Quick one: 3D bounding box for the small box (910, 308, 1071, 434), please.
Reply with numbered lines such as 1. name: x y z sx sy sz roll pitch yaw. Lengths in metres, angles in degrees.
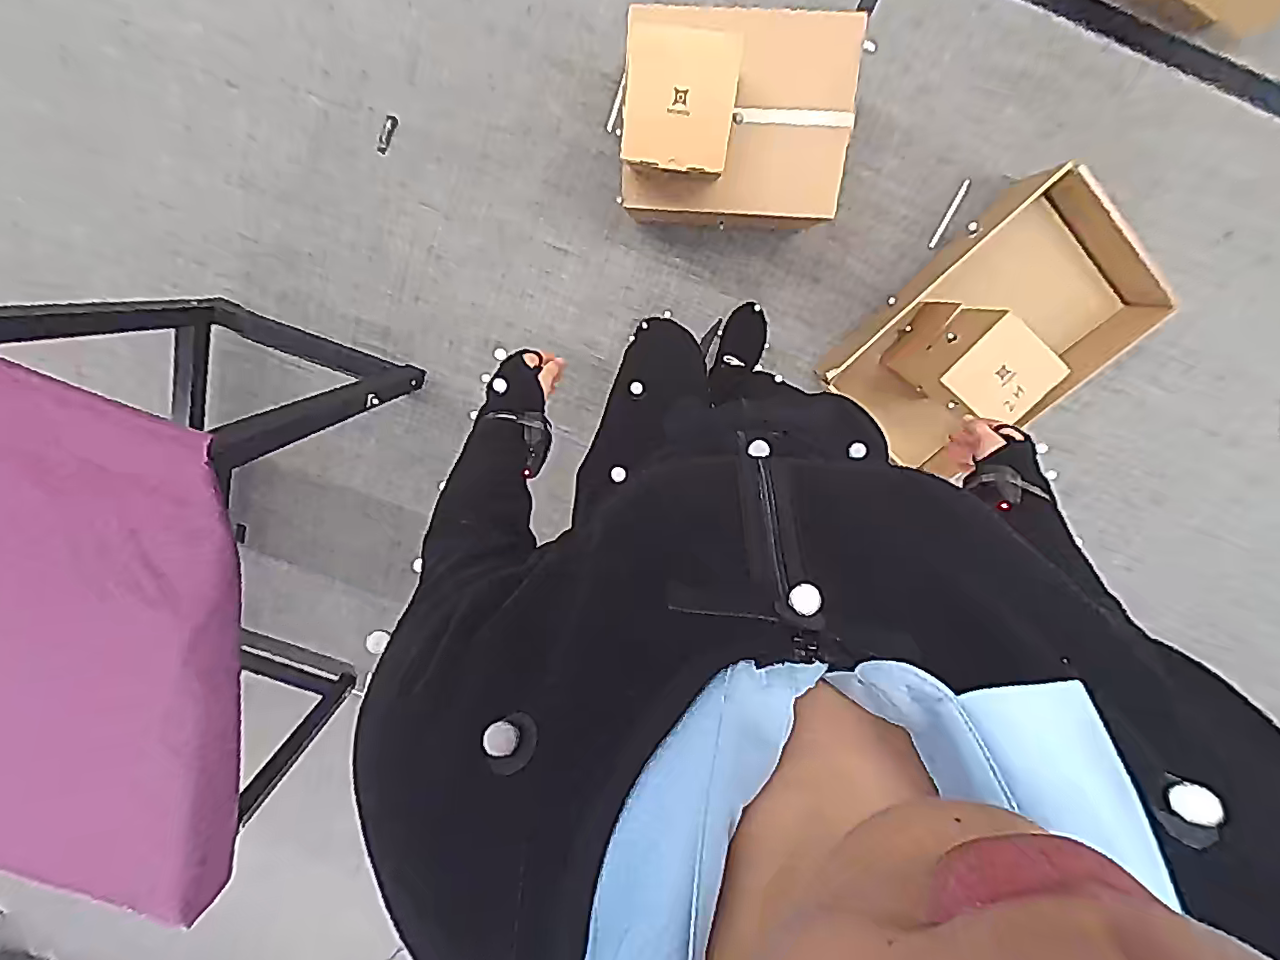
1. small box: 0.683 -0.222 1.078 0.179 0.176 0.168 39 107 -11
